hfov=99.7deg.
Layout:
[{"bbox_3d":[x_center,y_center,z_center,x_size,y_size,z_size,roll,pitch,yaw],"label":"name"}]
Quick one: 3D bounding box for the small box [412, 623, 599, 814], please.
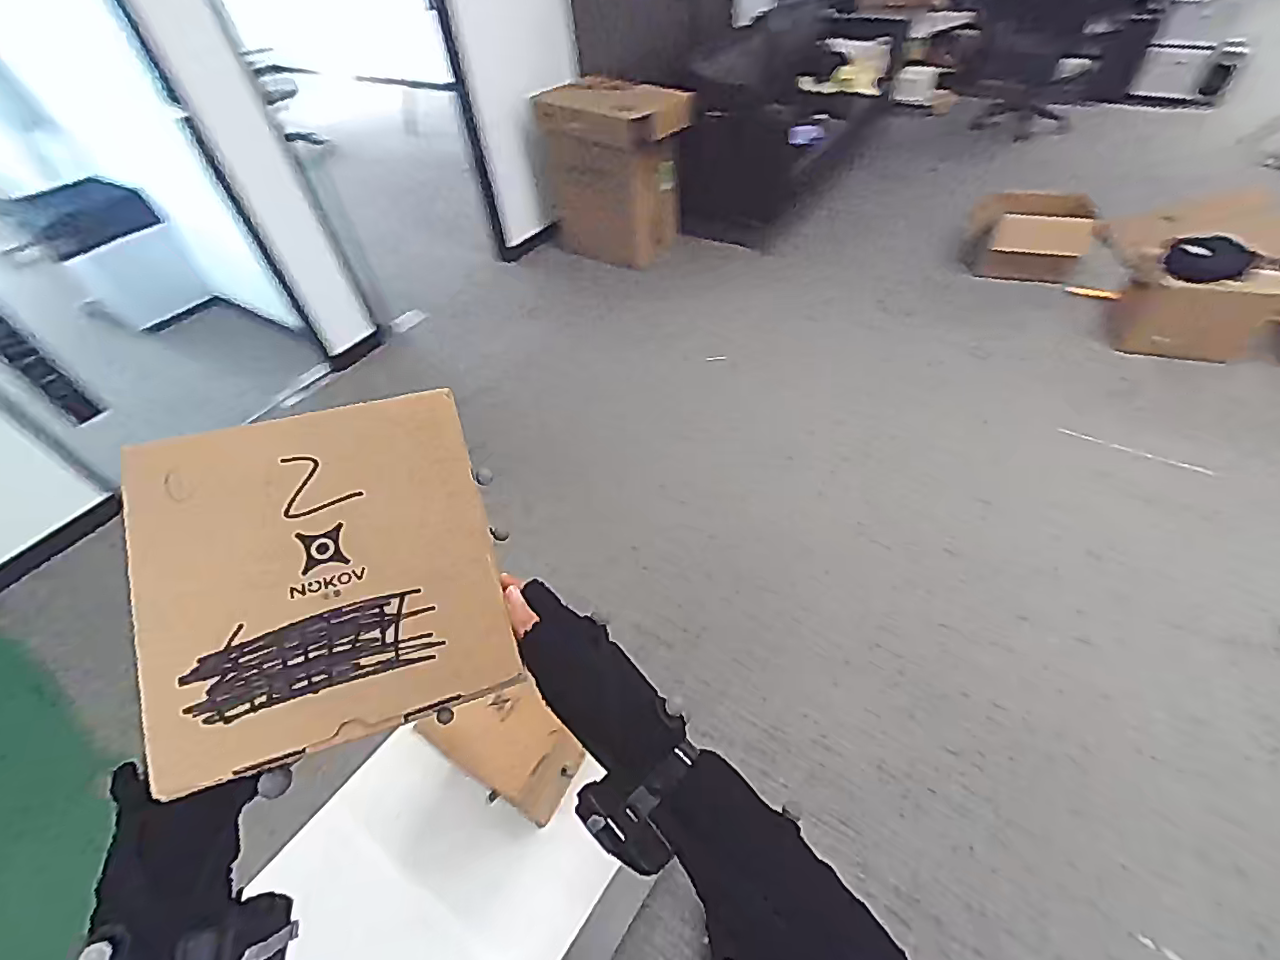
[{"bbox_3d":[-0.179,0.342,0.771,0.179,0.176,0.168,21,54,21],"label":"small box"}]
